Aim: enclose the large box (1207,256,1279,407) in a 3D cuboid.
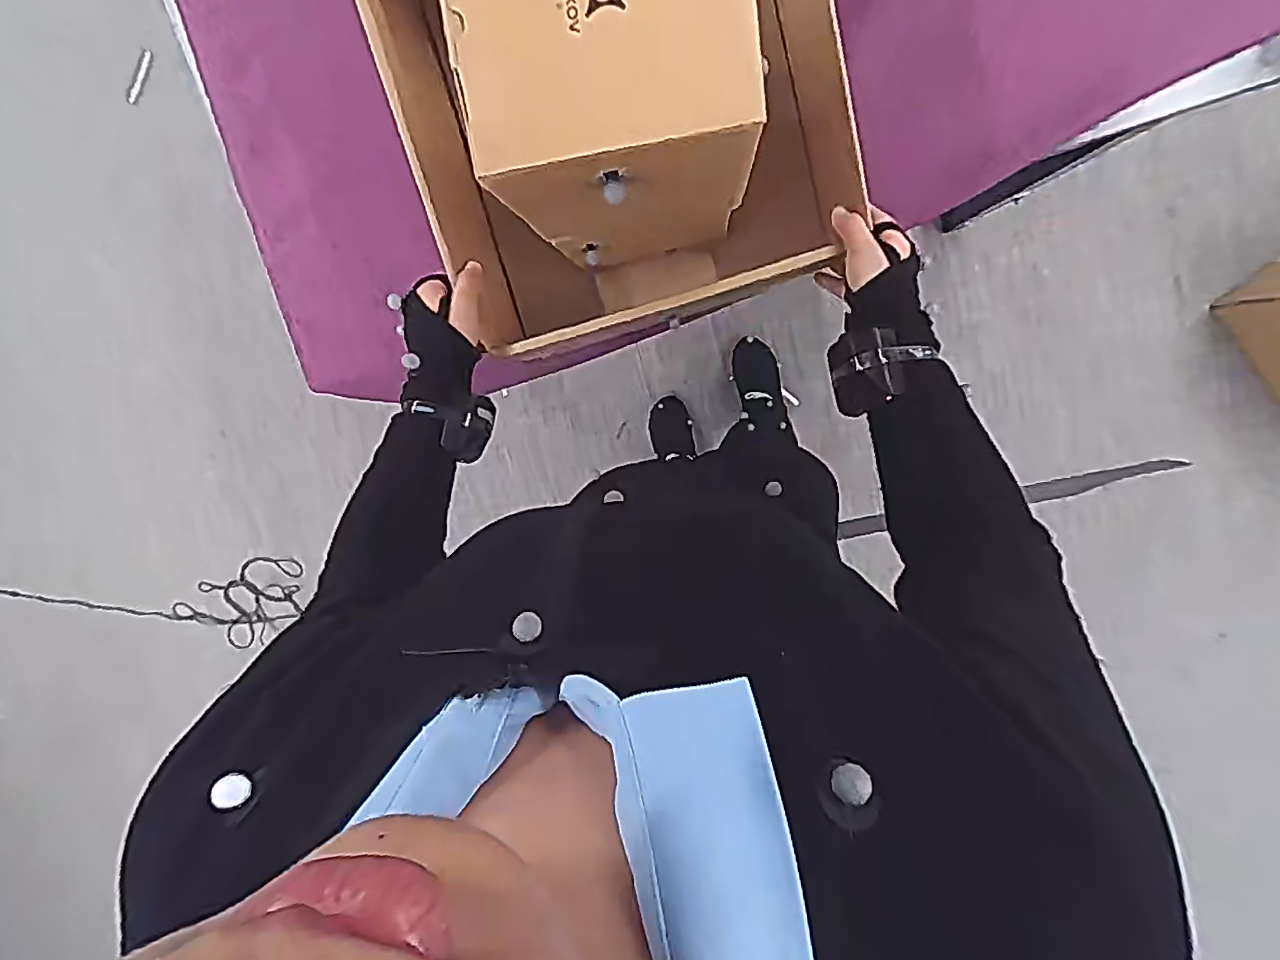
[{"bbox_3d":[1.524,-0.309,1.081,0.320,0.320,0.408,-41,94,12],"label":"large box"}]
